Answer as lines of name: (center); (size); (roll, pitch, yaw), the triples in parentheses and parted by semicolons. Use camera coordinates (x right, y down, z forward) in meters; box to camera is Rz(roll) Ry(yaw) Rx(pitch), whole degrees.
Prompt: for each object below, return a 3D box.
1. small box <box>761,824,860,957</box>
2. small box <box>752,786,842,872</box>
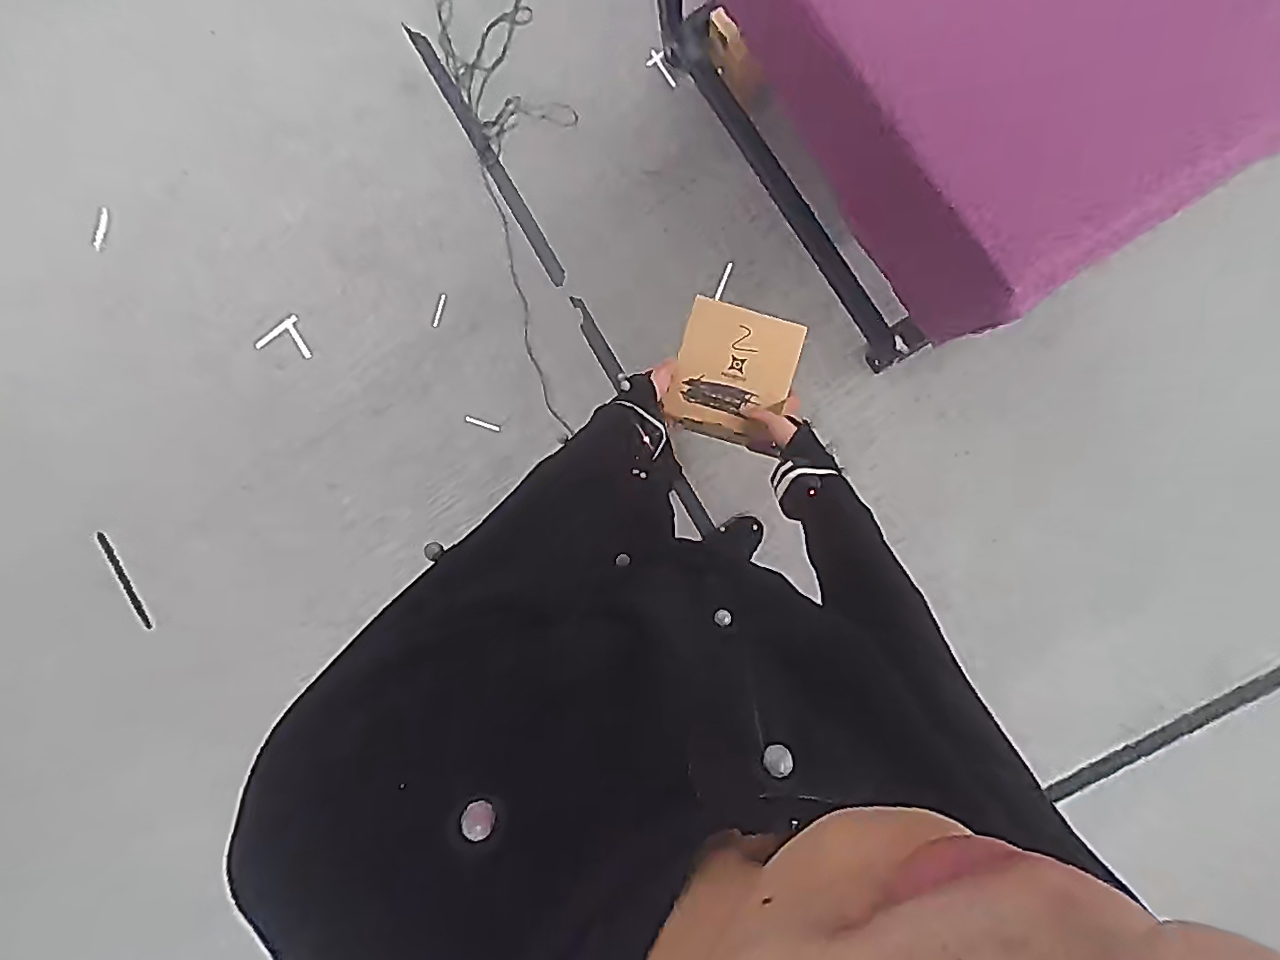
small box: (0.413, 1.006, 1.340); (0.168, 0.176, 0.179); (-27, 85, 7)
small box: (0.426, 1.000, 1.502); (0.179, 0.176, 0.168); (-32, 85, 6)
